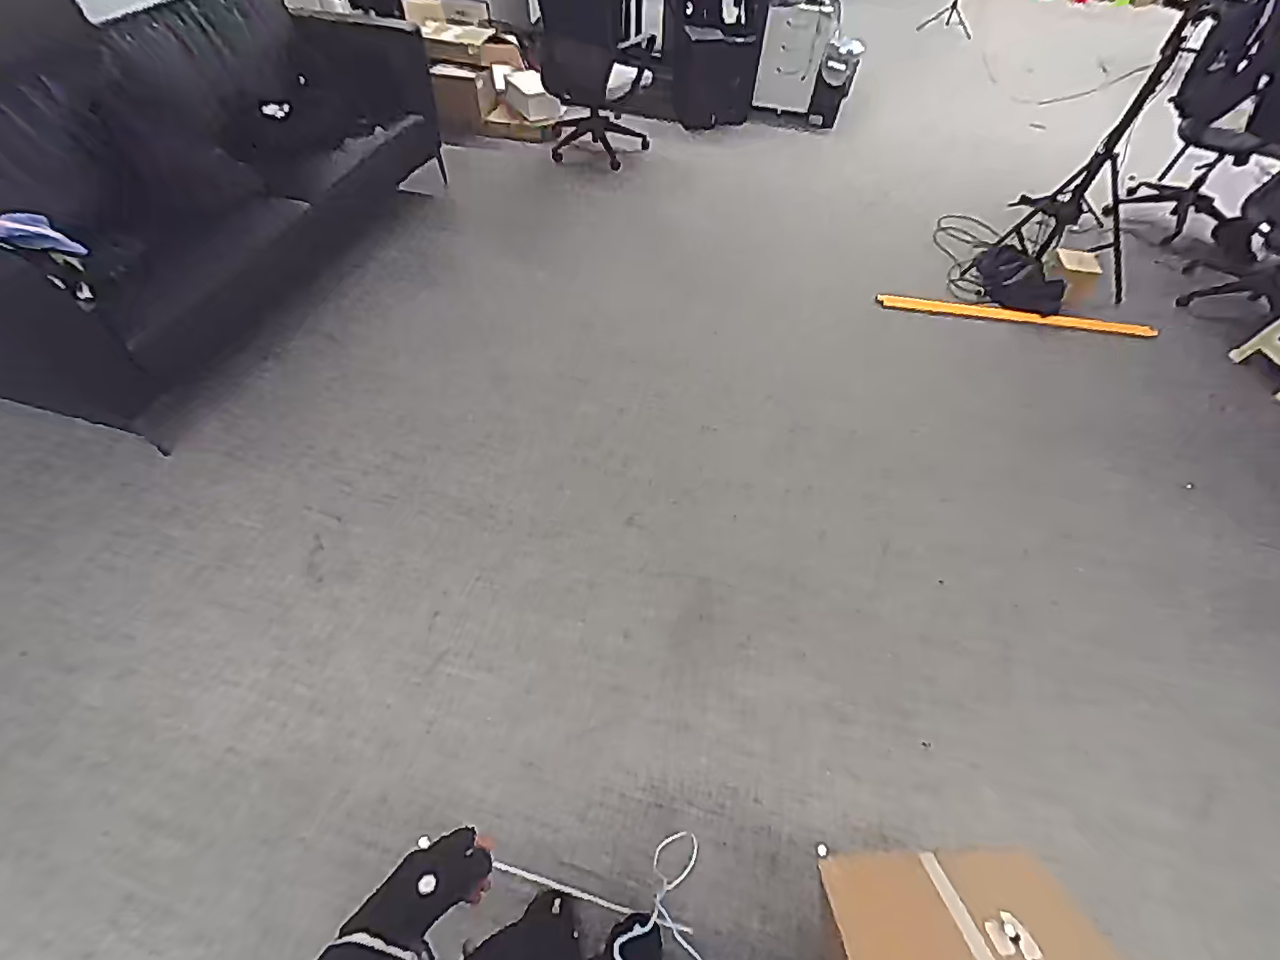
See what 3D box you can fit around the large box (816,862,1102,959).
[{"bbox_3d":[0.425,0.752,0.628,0.320,0.320,0.408,-5,7,3],"label":"large box"}]
